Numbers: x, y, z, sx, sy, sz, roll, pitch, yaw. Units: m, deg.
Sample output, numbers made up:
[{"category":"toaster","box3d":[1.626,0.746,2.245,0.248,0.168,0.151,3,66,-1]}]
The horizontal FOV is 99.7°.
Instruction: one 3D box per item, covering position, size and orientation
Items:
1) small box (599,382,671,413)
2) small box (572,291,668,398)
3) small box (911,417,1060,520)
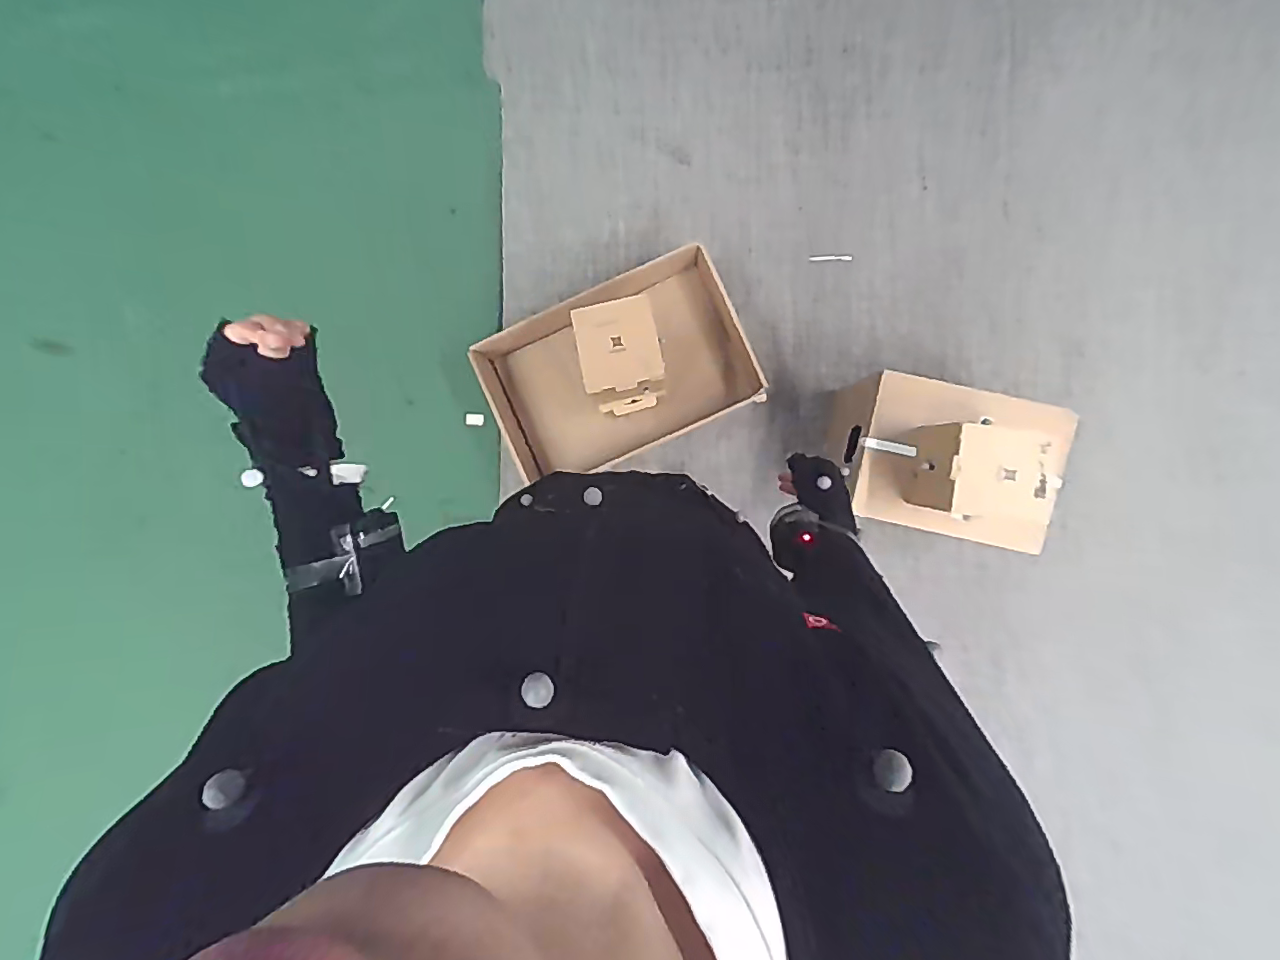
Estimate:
[{"category":"small box","box3d":[-0.025,-0.270,1.330,0.168,0.176,0.179,-16,89,5]},{"category":"small box","box3d":[-0.036,-0.280,1.169,0.168,0.176,0.179,-12,89,4]},{"category":"small box","box3d":[0.648,-0.023,1.037,0.179,0.176,0.168,7,93,3]}]
